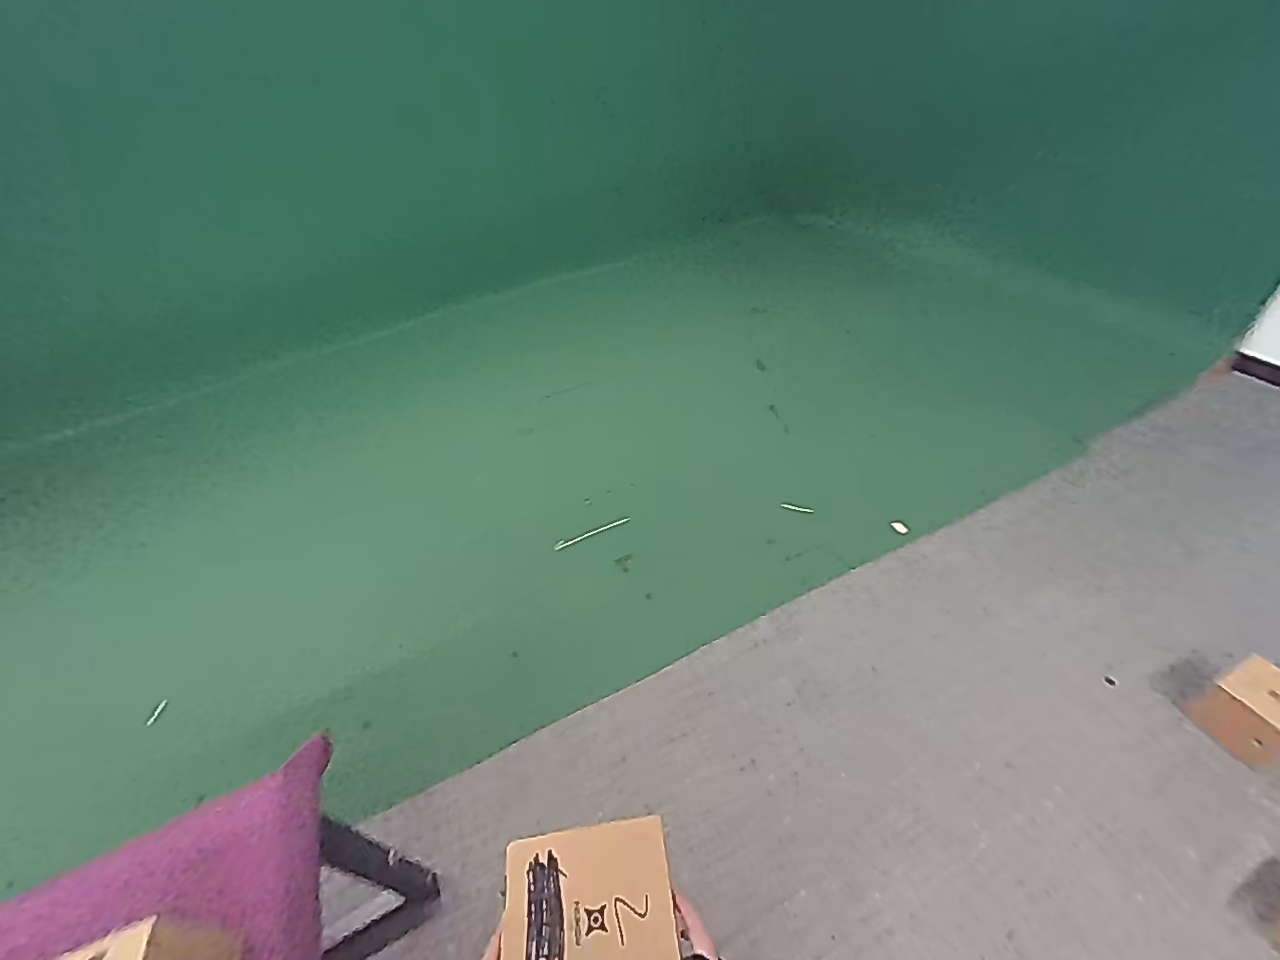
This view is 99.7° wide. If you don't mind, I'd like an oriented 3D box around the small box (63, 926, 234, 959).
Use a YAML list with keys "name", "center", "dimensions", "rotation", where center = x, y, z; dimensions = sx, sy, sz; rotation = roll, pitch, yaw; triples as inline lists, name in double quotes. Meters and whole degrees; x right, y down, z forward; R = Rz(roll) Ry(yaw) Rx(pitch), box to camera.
- name: "small box"
  center: [-0.608, 0.654, 0.615]
  dimensions: [0.168, 0.176, 0.179]
  rotation: [-20, 45, -9]

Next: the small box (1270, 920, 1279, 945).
- name: "small box"
  center: [1.406, 0.911, 1.039]
  dimensions: [0.168, 0.176, 0.179]
  rotation: [-23, 46, -14]

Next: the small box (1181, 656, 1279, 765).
- name: "small box"
  center: [1.544, 0.584, 1.355]
  dimensions: [0.168, 0.176, 0.179]
  rotation: [-22, 44, -14]
